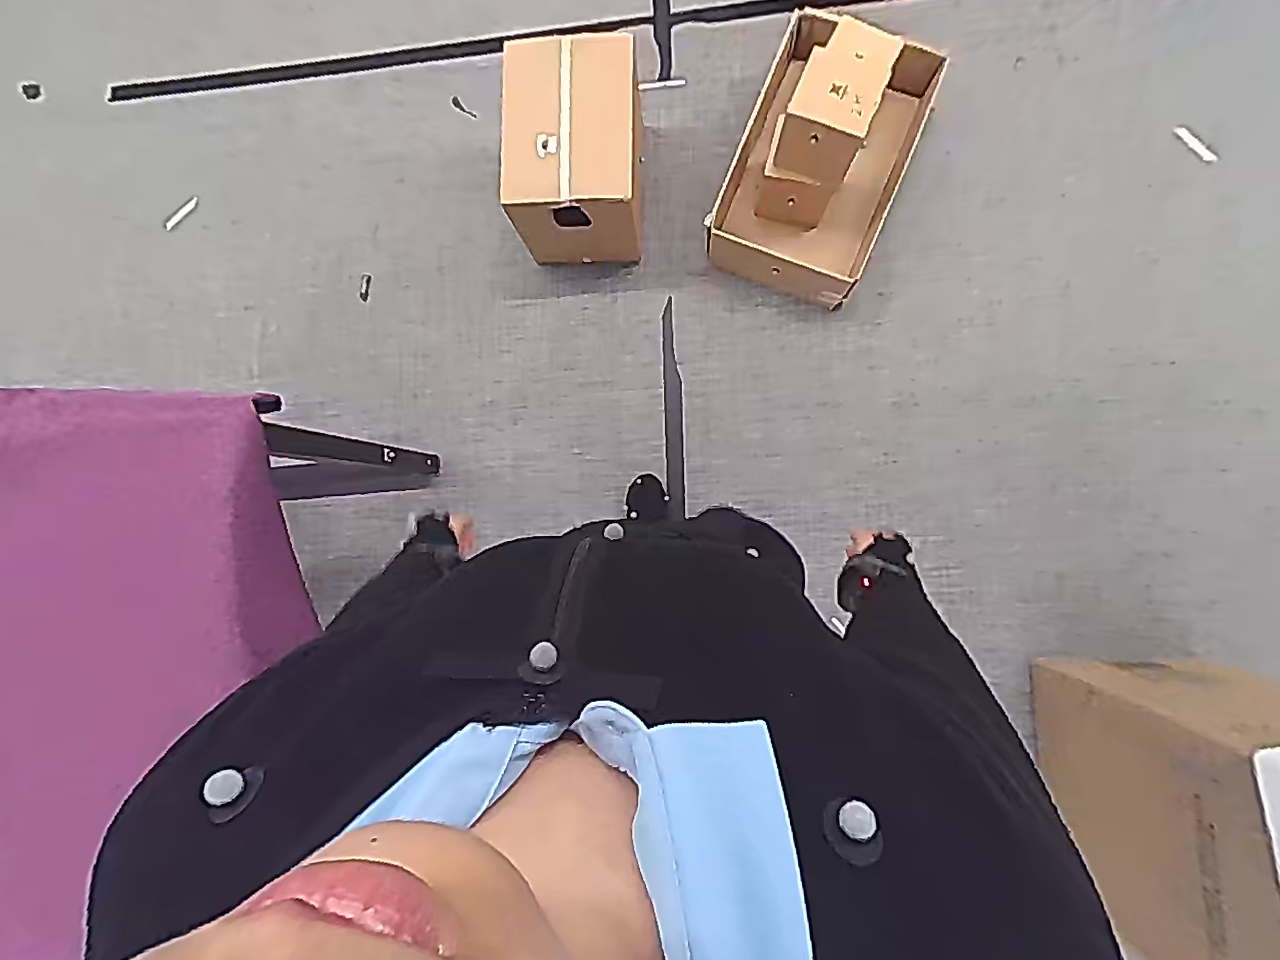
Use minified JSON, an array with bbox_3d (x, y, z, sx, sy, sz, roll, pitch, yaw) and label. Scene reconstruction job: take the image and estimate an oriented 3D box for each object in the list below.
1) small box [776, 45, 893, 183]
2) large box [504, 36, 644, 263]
[{"bbox_3d":[0.423,-0.808,1.212,0.179,0.176,0.168,23,87,5],"label":"small box"},{"bbox_3d":[-0.153,-0.827,1.403,0.320,0.320,0.408,0,88,6],"label":"large box"}]
